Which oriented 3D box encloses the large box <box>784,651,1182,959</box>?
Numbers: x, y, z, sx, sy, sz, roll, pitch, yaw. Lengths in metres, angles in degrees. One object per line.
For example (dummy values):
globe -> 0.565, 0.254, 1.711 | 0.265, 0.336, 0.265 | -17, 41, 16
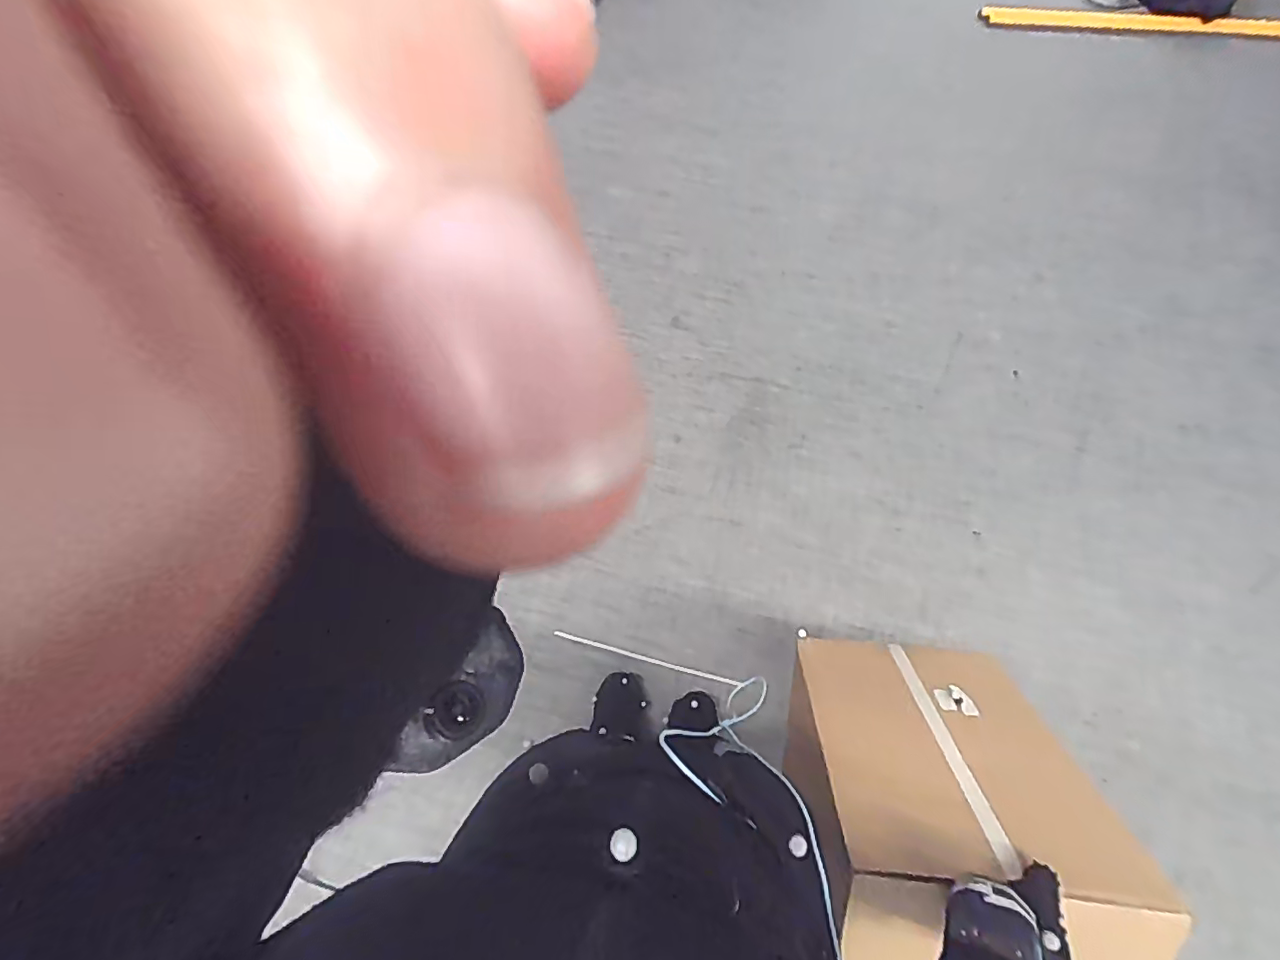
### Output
large box -> 0.393, 0.500, 0.760 | 0.320, 0.408, 0.320 | 4, 108, 7
